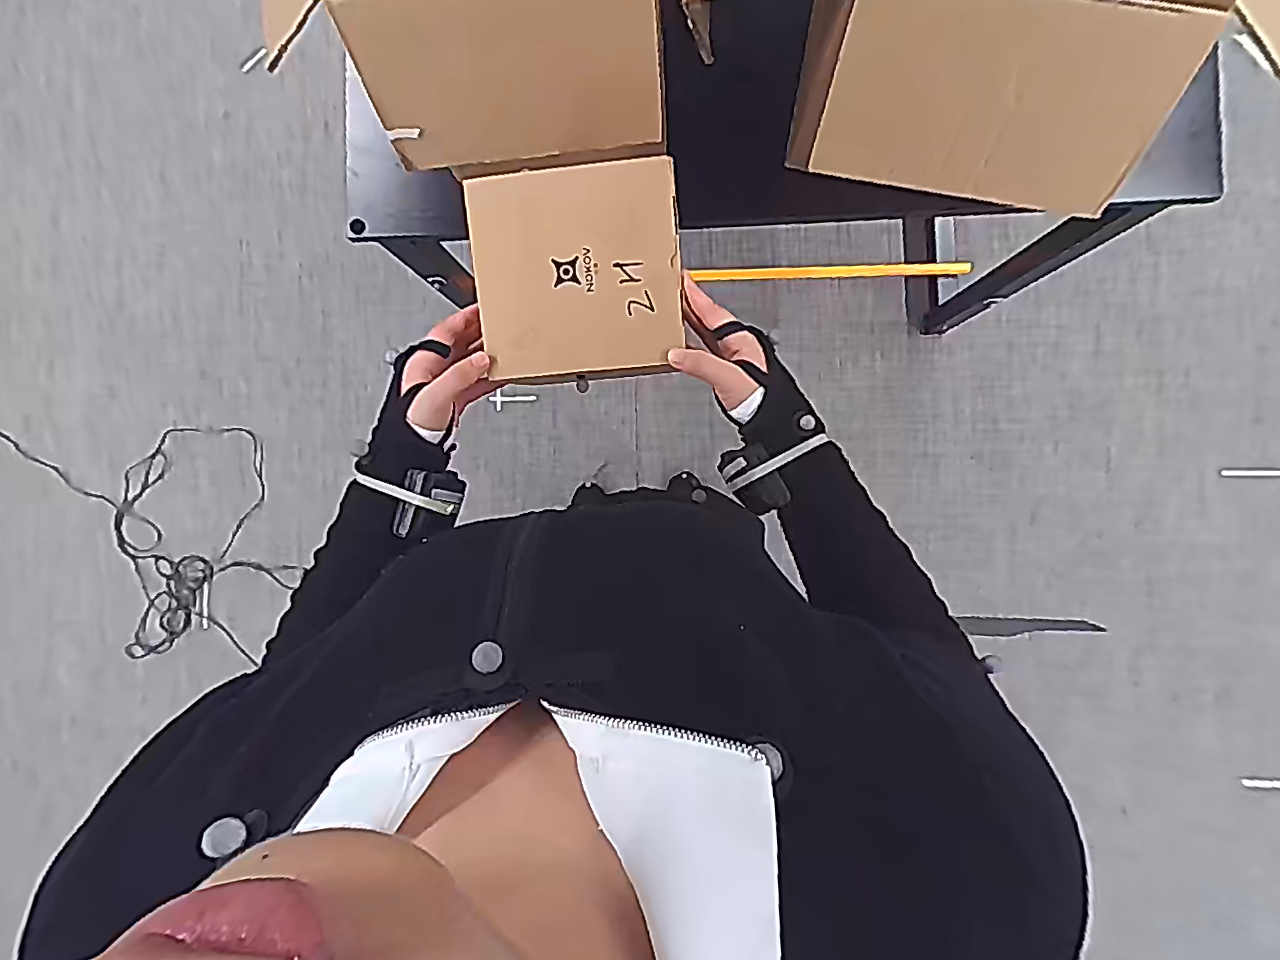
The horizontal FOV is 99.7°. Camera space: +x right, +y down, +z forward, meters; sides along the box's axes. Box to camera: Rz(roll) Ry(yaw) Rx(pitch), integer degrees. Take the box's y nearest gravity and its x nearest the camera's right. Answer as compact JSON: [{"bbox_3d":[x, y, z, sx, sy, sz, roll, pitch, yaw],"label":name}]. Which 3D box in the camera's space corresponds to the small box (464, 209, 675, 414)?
[{"bbox_3d":[-0.055,-0.154,0.547,0.179,0.176,0.168,-4,99,3],"label":"small box"}]
